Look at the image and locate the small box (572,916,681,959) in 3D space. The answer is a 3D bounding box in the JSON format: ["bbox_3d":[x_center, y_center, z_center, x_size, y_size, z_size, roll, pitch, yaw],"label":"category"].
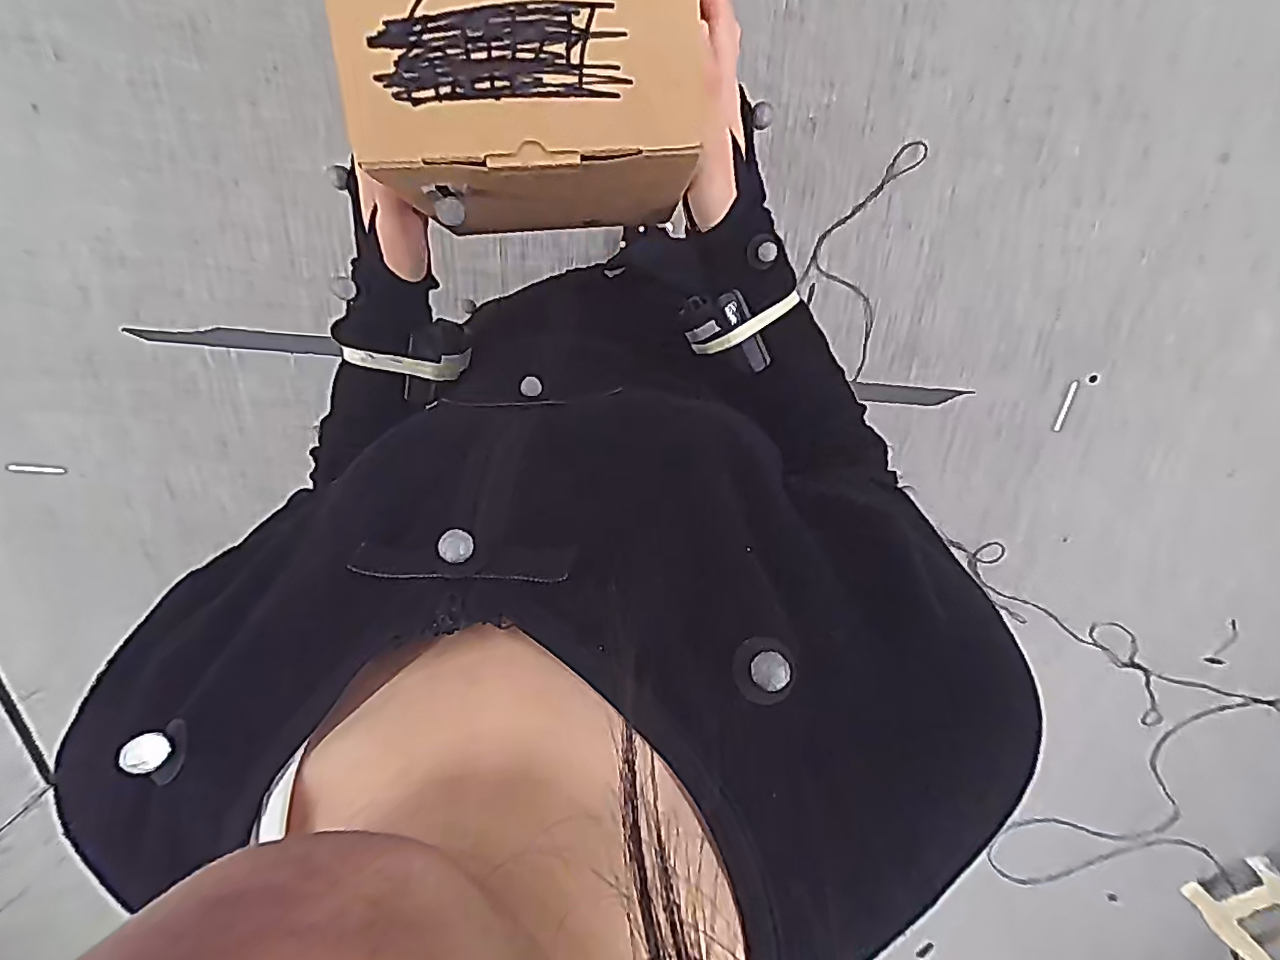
[{"bbox_3d":[-0.023,0.835,0.864,0.179,0.176,0.168,0,116,-2],"label":"small box"}]

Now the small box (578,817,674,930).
[{"bbox_3d":[-0.027,0.767,1.011,0.168,0.176,0.179,1,114,-2],"label":"small box"}]
